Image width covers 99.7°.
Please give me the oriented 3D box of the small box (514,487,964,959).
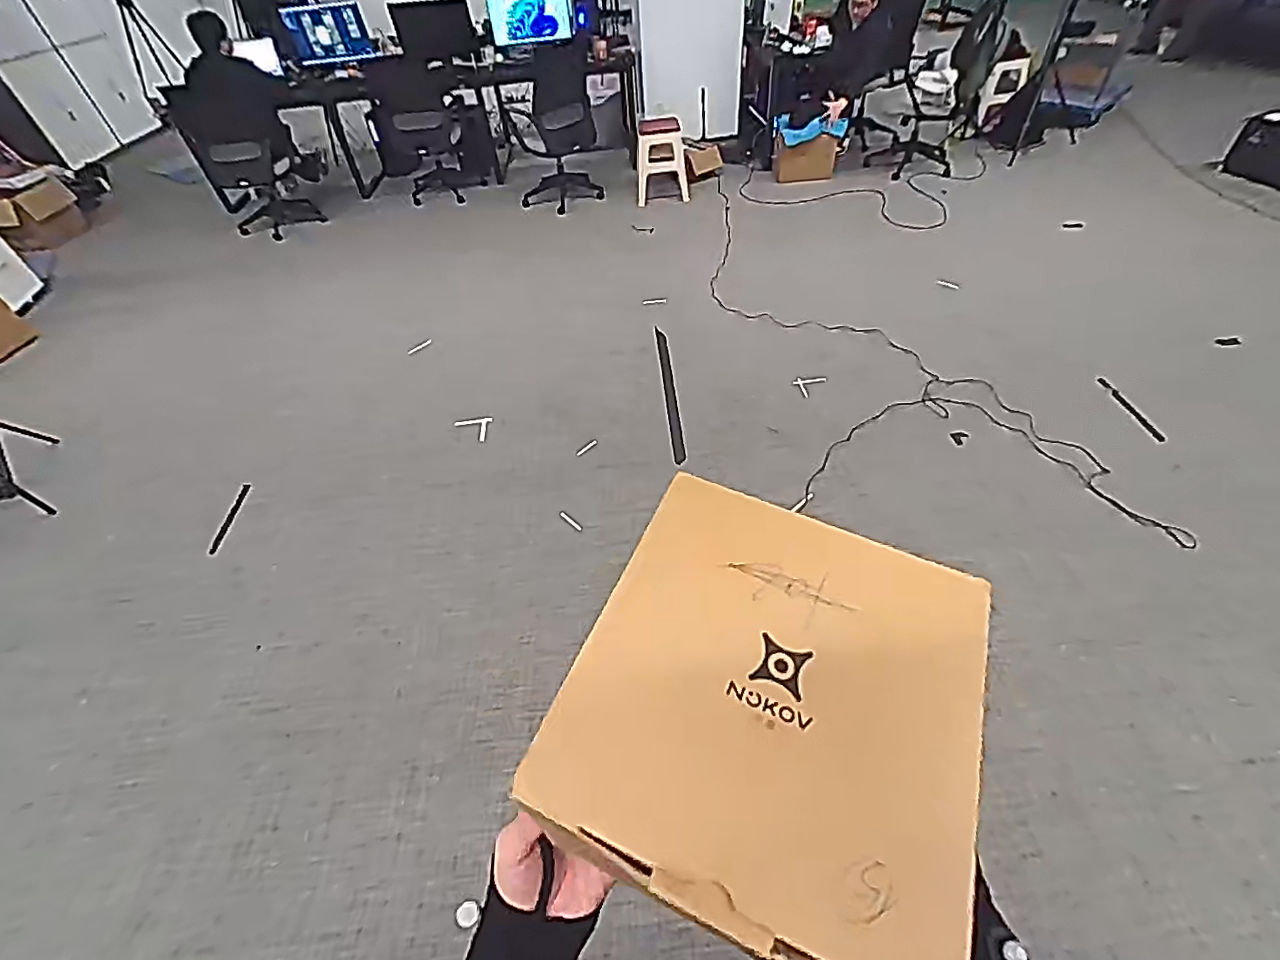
[{"bbox_3d":[0.054,0.141,0.308,0.168,0.176,0.179,20,52,13],"label":"small box"}]
